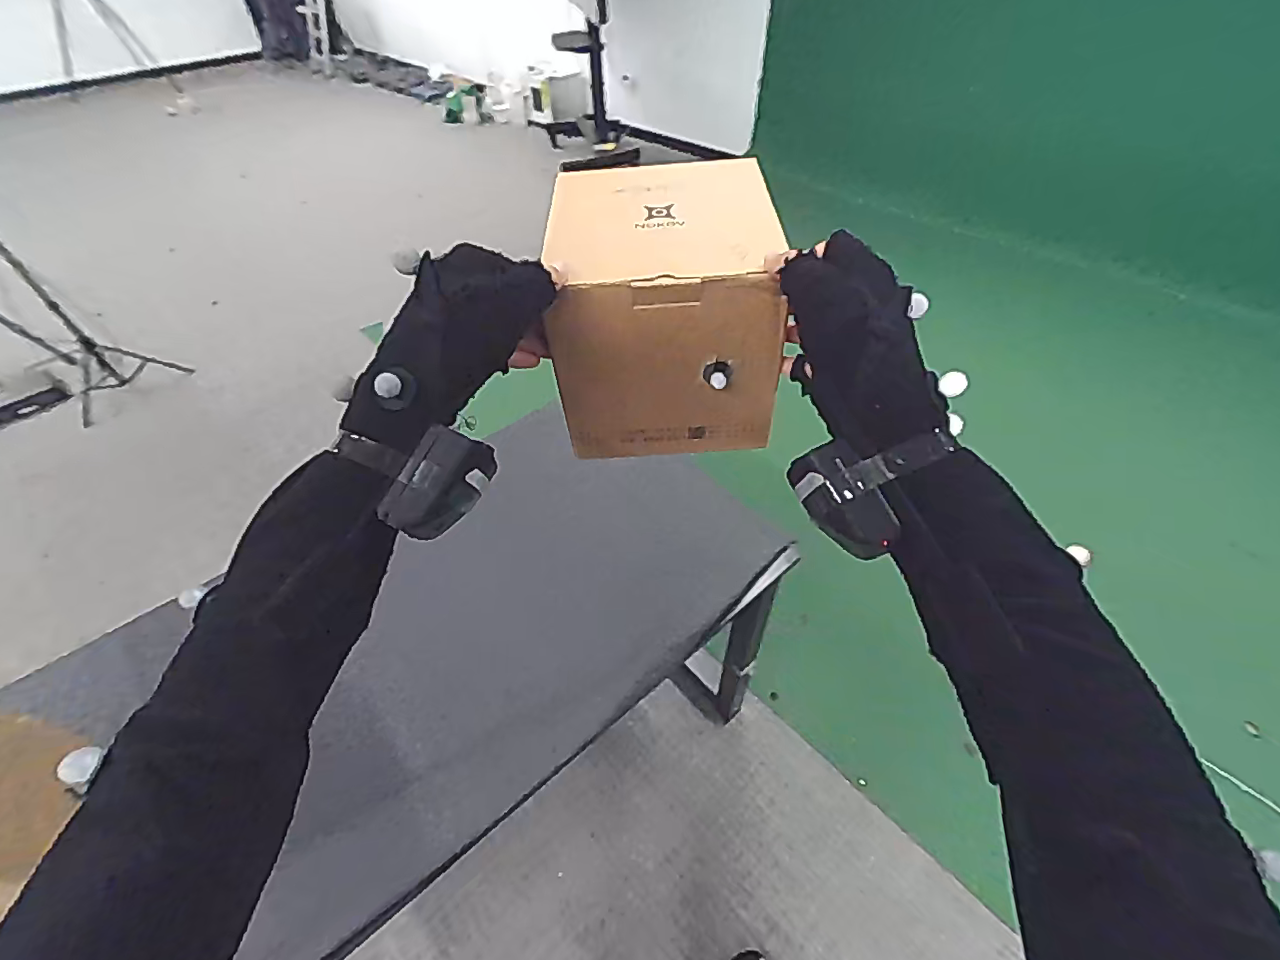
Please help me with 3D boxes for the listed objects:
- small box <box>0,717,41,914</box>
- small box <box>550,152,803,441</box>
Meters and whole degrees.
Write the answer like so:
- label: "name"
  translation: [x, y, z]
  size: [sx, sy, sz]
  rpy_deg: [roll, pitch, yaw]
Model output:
- label: "small box"
  translation: [-0.639, 0.287, 0.427]
  size: [0.168, 0.176, 0.179]
  rpy_deg: [-31, 54, -25]
- label: "small box"
  translation: [0.029, -0.145, 0.455]
  size: [0.168, 0.176, 0.179]
  rpy_deg: [-3, 51, 2]
